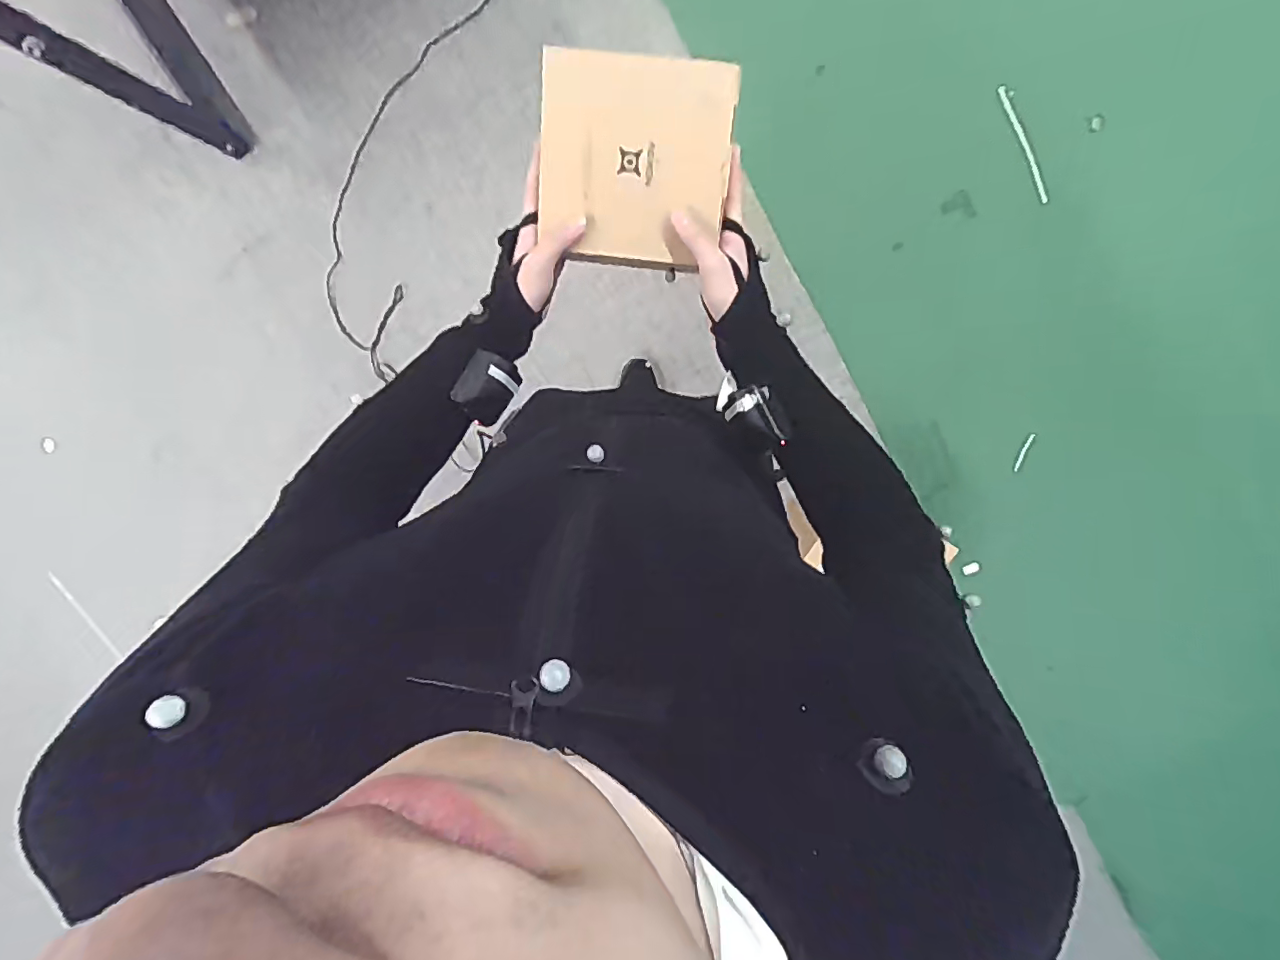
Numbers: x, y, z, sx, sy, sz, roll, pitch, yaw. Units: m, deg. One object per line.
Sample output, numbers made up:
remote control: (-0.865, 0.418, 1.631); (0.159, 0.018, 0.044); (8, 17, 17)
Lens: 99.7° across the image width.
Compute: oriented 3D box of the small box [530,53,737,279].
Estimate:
small box: (-0.007, -0.306, 0.564); (0.179, 0.176, 0.168); (6, 108, 1)
